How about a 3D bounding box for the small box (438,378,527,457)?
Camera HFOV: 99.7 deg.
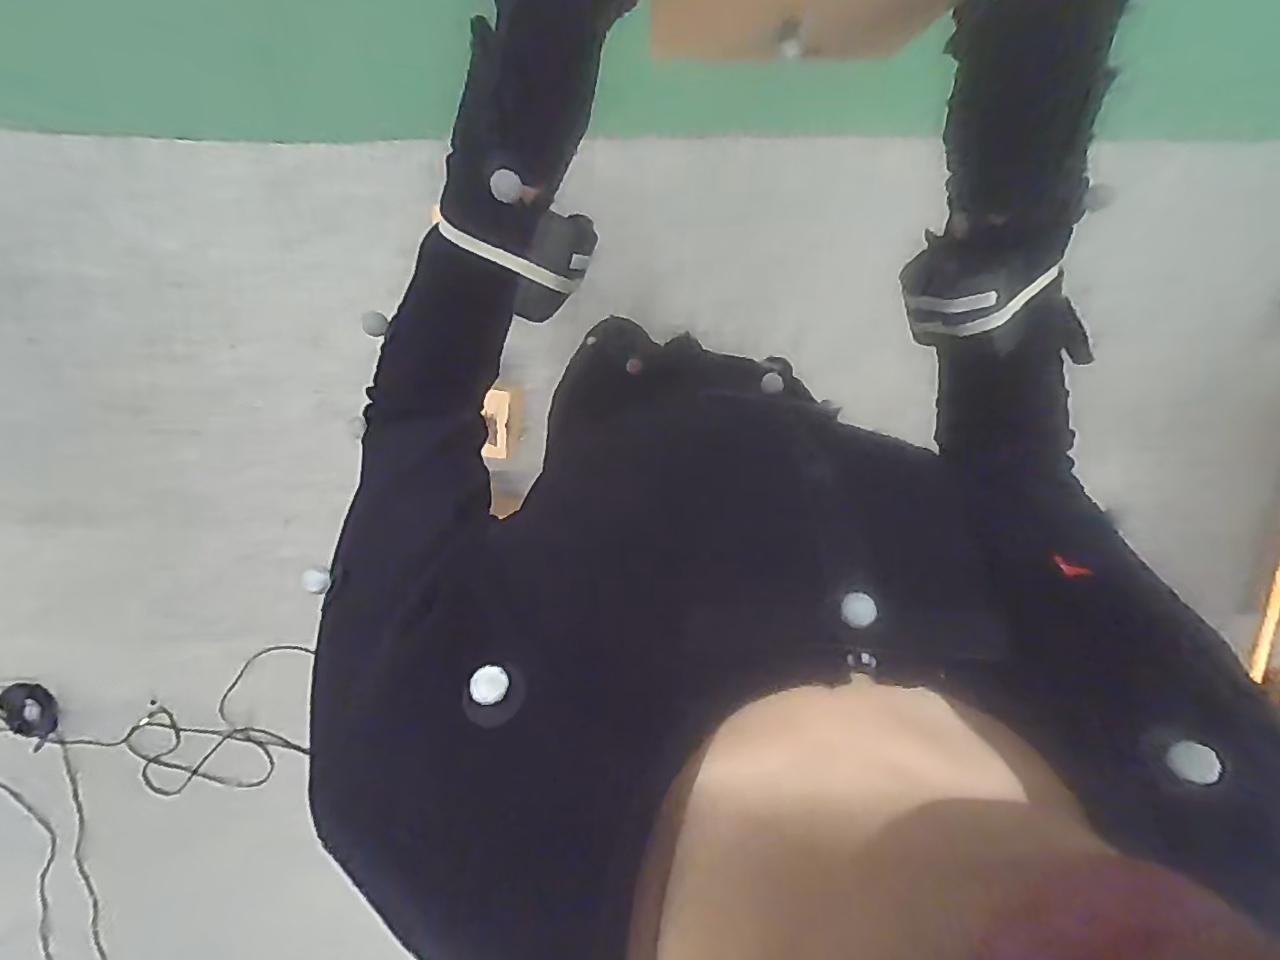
[{"bbox_3d":[-0.390,-0.163,1.361,0.179,0.176,0.168,7,103,0],"label":"small box"}]
